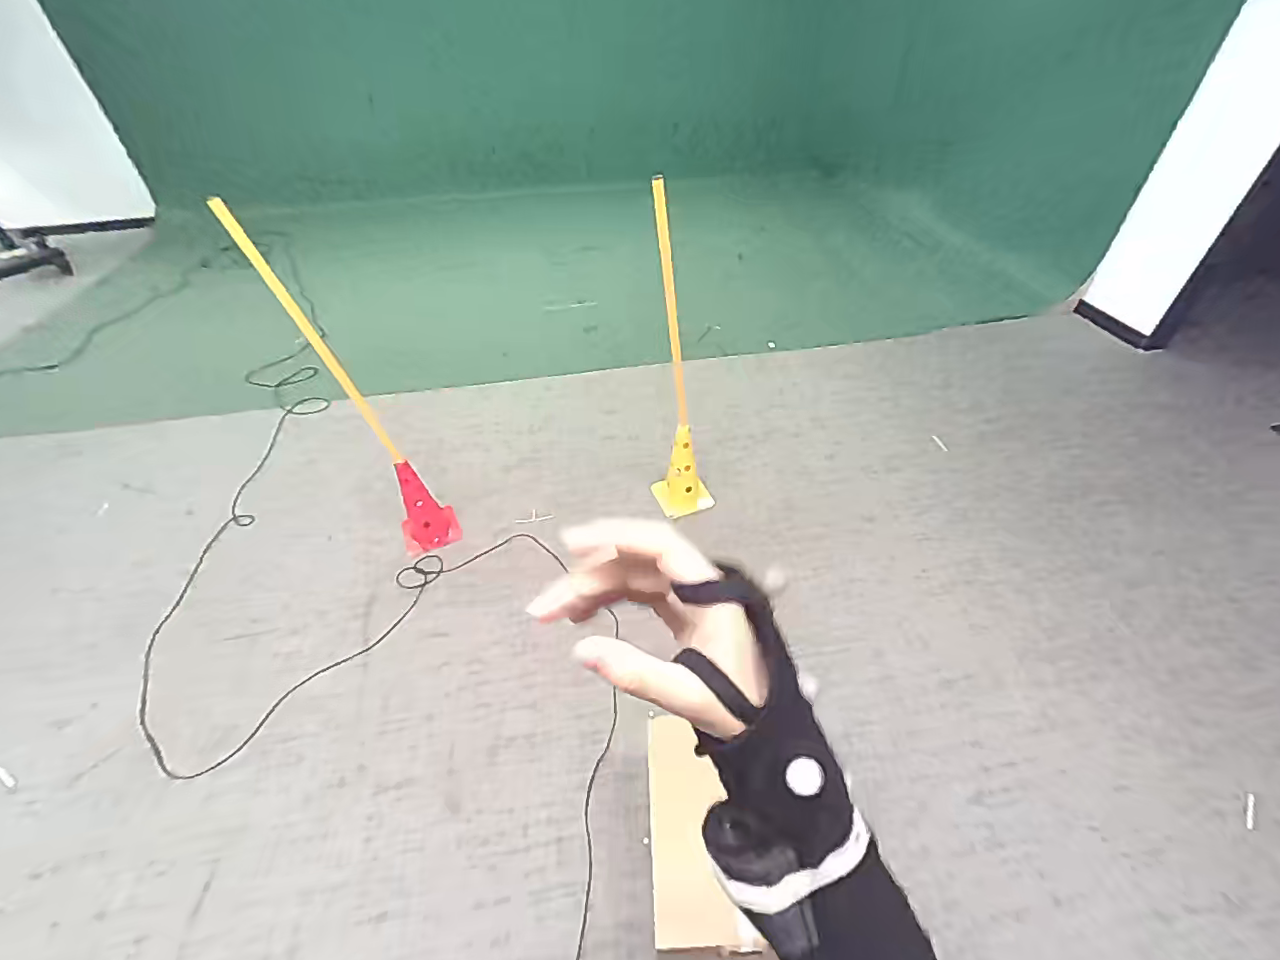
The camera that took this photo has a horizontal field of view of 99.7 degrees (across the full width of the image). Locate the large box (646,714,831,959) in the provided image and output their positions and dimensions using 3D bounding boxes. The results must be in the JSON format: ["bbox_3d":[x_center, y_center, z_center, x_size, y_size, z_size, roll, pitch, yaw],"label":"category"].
[{"bbox_3d":[0.180,0.782,1.178,0.320,0.320,0.408,-2,42,0],"label":"large box"}]
